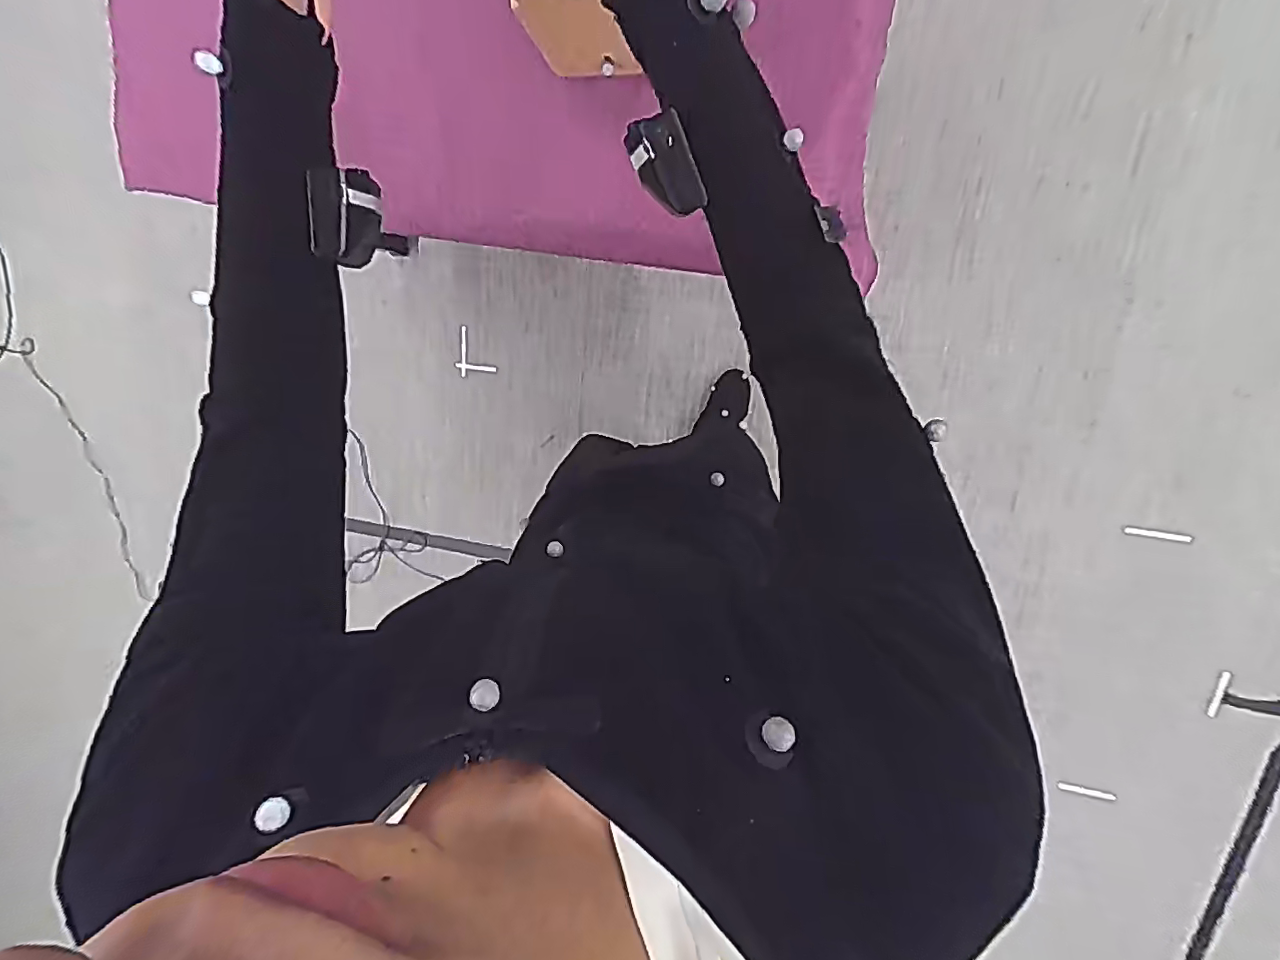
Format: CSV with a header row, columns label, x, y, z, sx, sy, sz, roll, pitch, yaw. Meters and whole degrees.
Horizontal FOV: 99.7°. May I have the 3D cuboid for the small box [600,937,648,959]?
label,x,y,z,sx,sy,sz,roll,pitch,yaw
small box,-0.062,1.854,1.999,0.168,0.176,0.179,-2,102,11

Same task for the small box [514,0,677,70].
label,x,y,z,sx,sy,sz,roll,pitch,yaw
small box,-0.044,-0.643,0.670,0.179,0.176,0.168,6,103,9
